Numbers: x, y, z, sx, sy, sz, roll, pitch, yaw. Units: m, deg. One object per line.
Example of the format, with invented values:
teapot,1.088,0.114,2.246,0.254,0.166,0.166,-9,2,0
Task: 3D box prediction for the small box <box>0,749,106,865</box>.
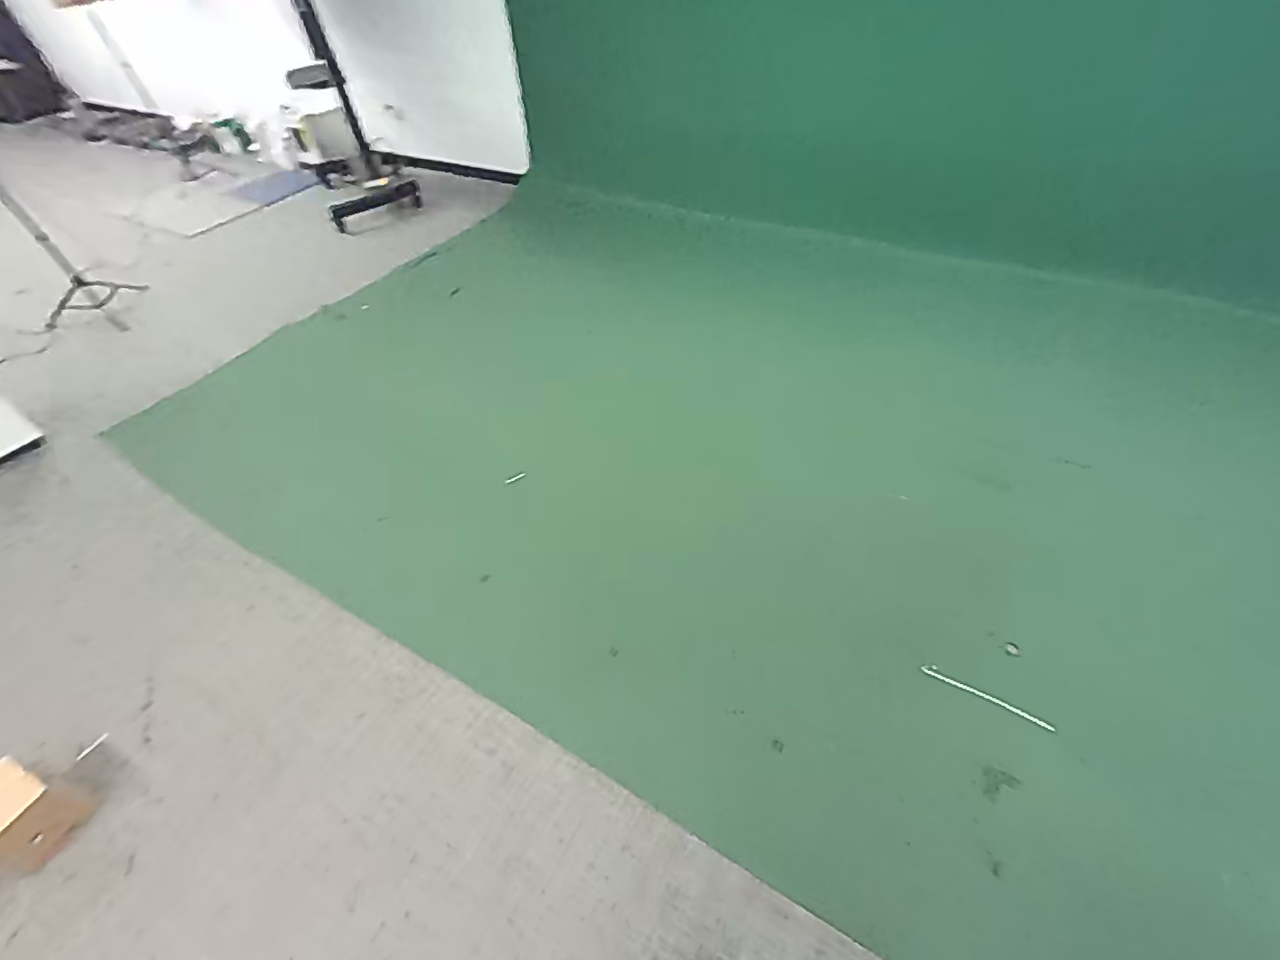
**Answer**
small box,-1.444,0.778,1.279,0.179,0.176,0.168,19,51,19
